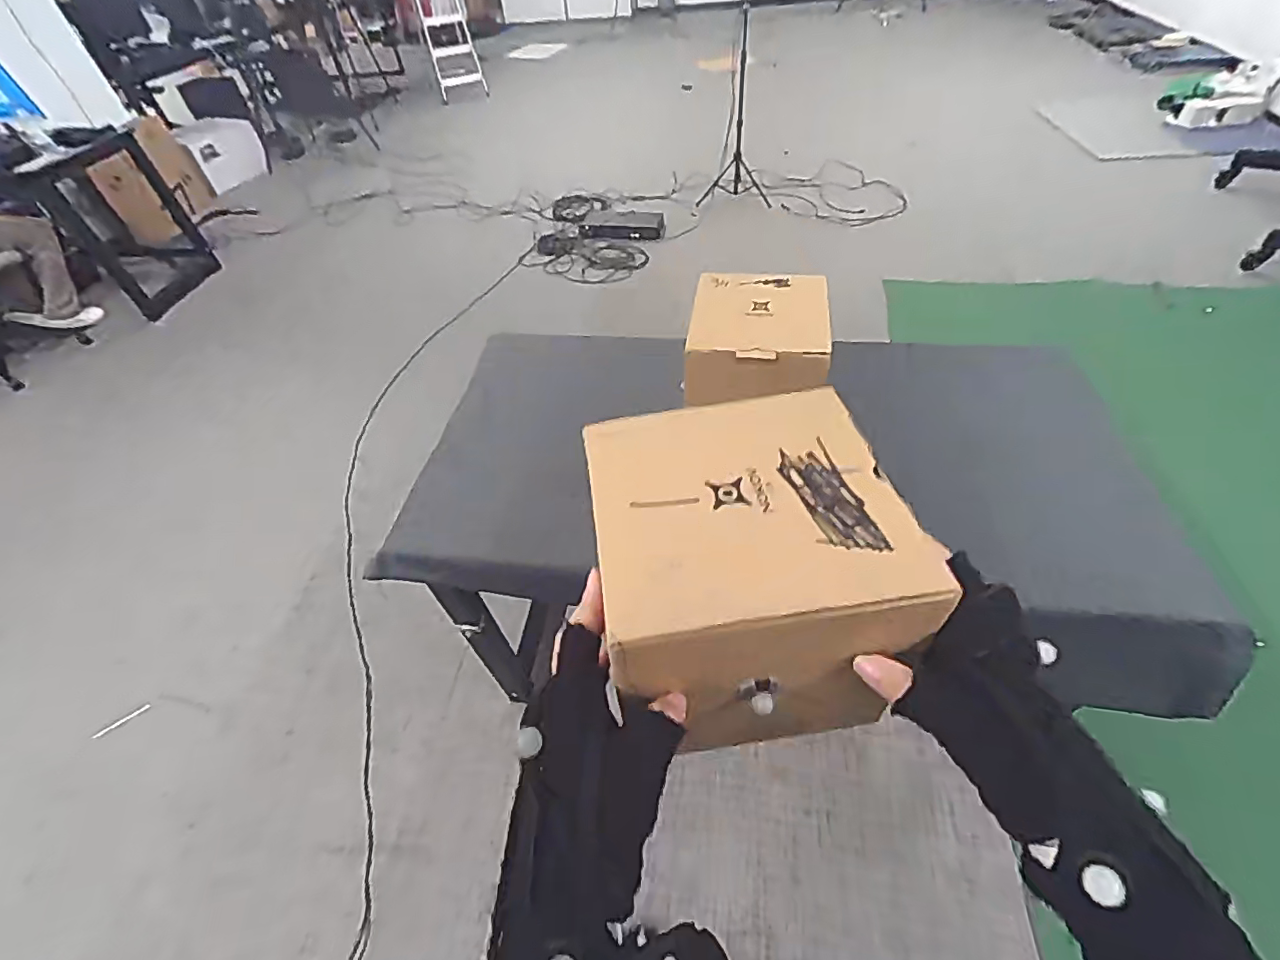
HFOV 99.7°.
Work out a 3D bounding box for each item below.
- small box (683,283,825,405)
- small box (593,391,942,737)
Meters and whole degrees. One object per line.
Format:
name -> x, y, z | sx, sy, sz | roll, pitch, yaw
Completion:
small box -> 0.154, -0.148, 0.739 | 0.168, 0.176, 0.179 | 5, 50, 10
small box -> 0.066, 0.061, 0.383 | 0.179, 0.176, 0.168 | -8, 45, -2
